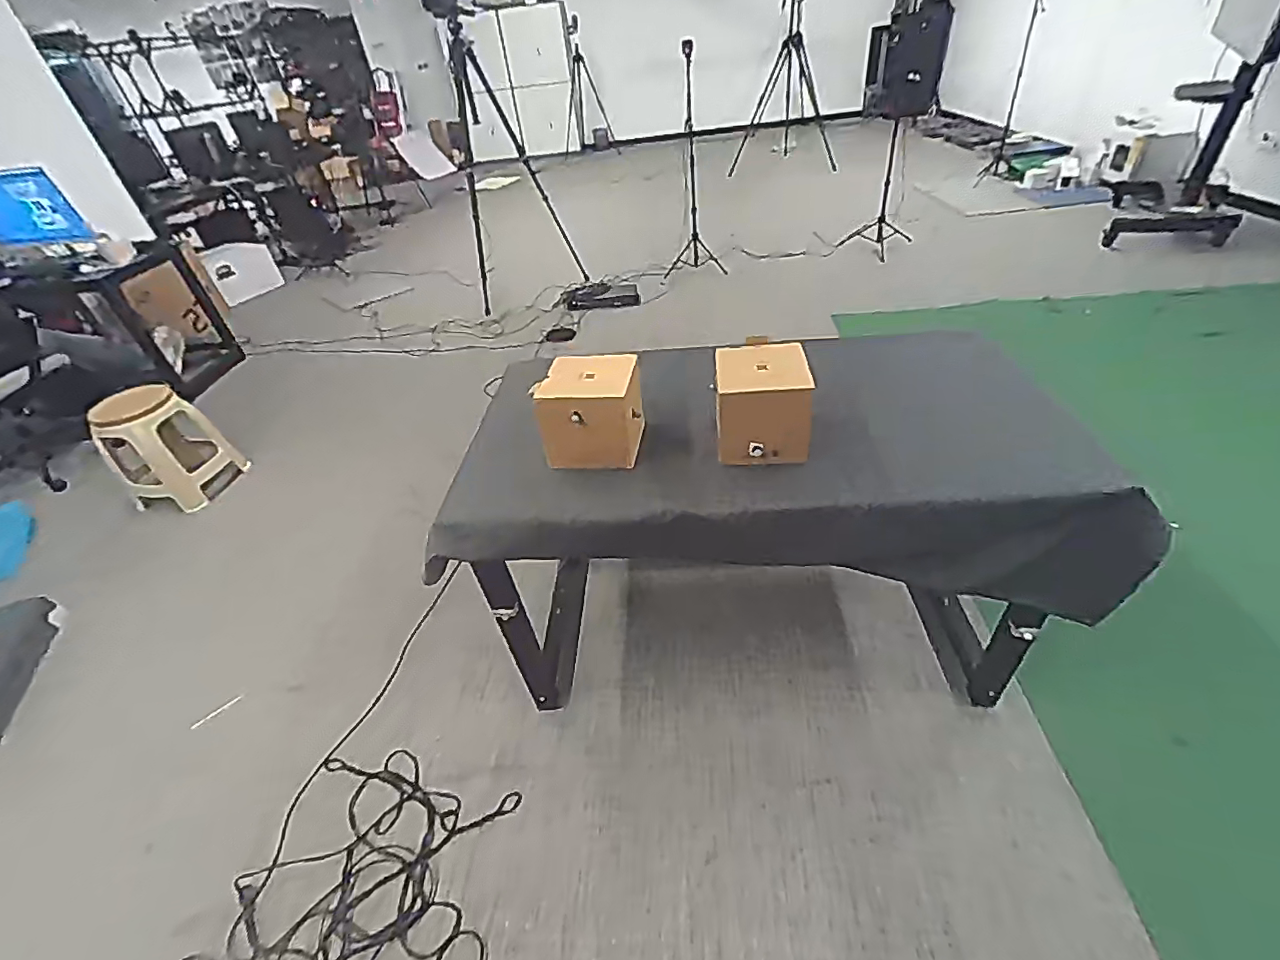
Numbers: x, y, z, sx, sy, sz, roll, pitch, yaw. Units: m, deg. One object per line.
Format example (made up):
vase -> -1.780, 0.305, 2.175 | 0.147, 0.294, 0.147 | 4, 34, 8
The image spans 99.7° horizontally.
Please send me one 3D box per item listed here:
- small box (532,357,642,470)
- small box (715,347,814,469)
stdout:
small box -> -0.095, -0.132, 1.086 | 0.179, 0.176, 0.168 | 1, 39, 10
small box -> 0.230, -0.139, 1.046 | 0.168, 0.176, 0.179 | -3, 39, 7
